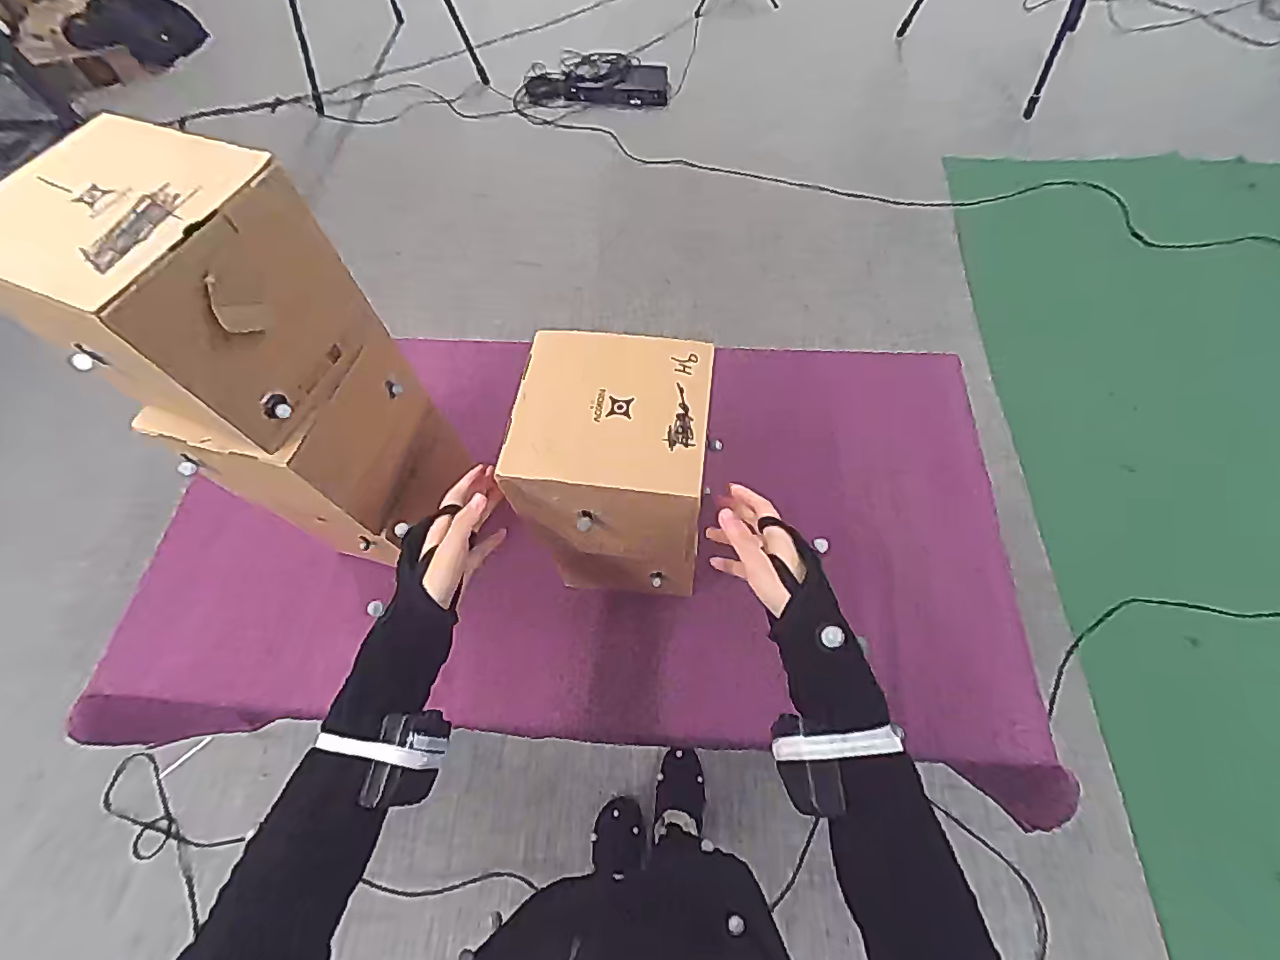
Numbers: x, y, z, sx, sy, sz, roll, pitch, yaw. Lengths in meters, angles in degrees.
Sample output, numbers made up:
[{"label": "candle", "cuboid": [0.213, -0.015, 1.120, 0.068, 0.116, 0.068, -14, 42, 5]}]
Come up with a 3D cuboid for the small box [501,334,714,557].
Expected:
[{"label": "small box", "cuboid": [-0.020, -0.029, 0.568, 0.179, 0.176, 0.168, 6, 62, 6]}]

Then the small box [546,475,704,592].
[{"label": "small box", "cuboid": [-0.010, 0.043, 0.715, 0.179, 0.176, 0.168, 4, 61, 5]}]

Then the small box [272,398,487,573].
[{"label": "small box", "cuboid": [-0.340, 0.014, 0.747, 0.179, 0.176, 0.168, 13, 63, 9]}]

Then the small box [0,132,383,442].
[{"label": "small box", "cuboid": [-0.365, -0.155, 0.465, 0.179, 0.176, 0.168, 19, 64, 13]}]
